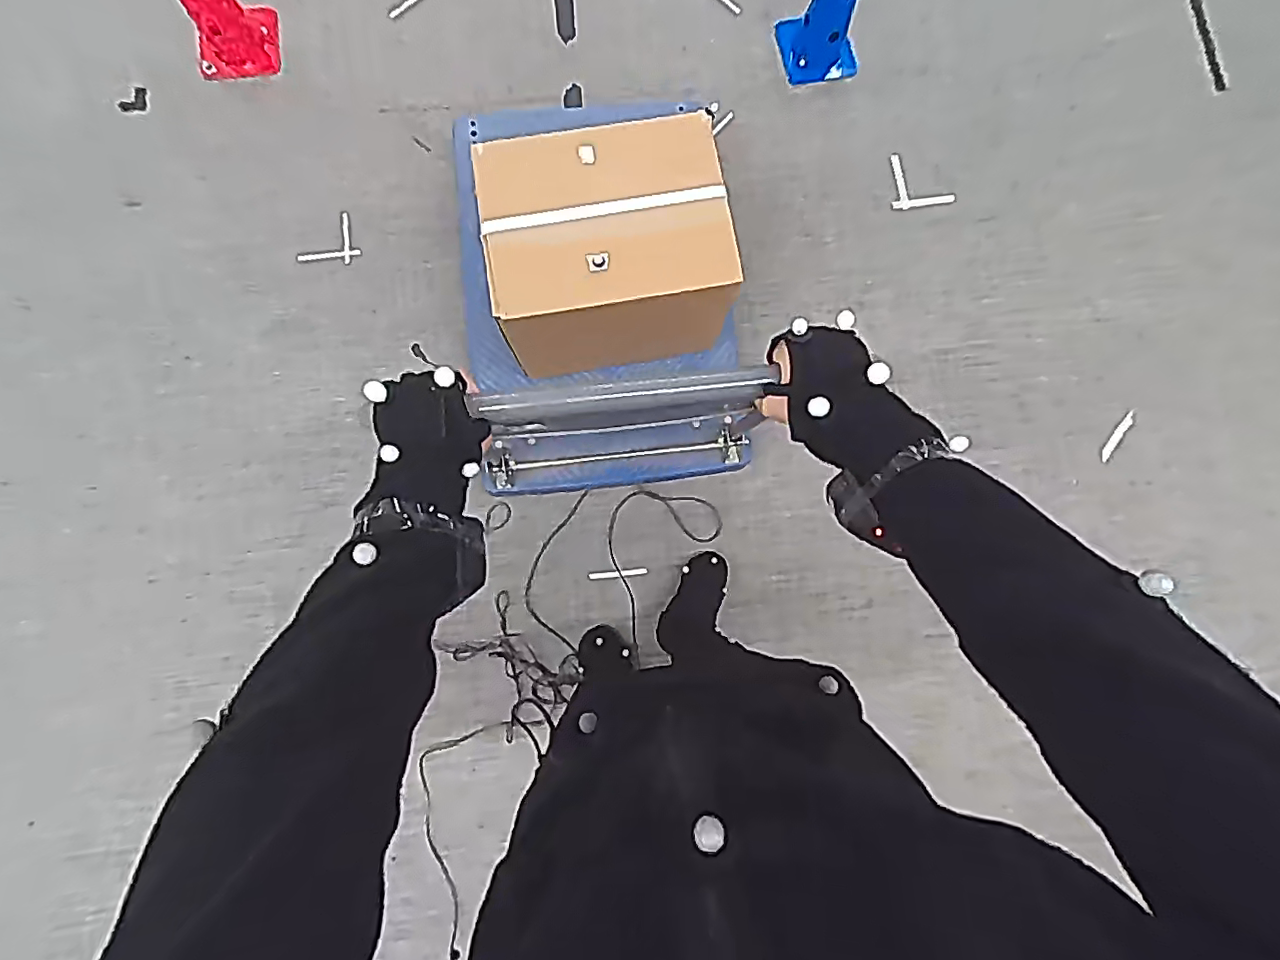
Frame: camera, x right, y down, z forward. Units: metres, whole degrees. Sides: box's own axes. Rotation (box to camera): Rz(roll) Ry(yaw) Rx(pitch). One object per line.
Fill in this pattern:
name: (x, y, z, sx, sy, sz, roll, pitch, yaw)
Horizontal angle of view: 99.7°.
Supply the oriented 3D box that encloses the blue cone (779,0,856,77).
blue cone: (0.498, -1.223, 1.327, 0.193, 0.380, 0.192, -10, 82, -4)
